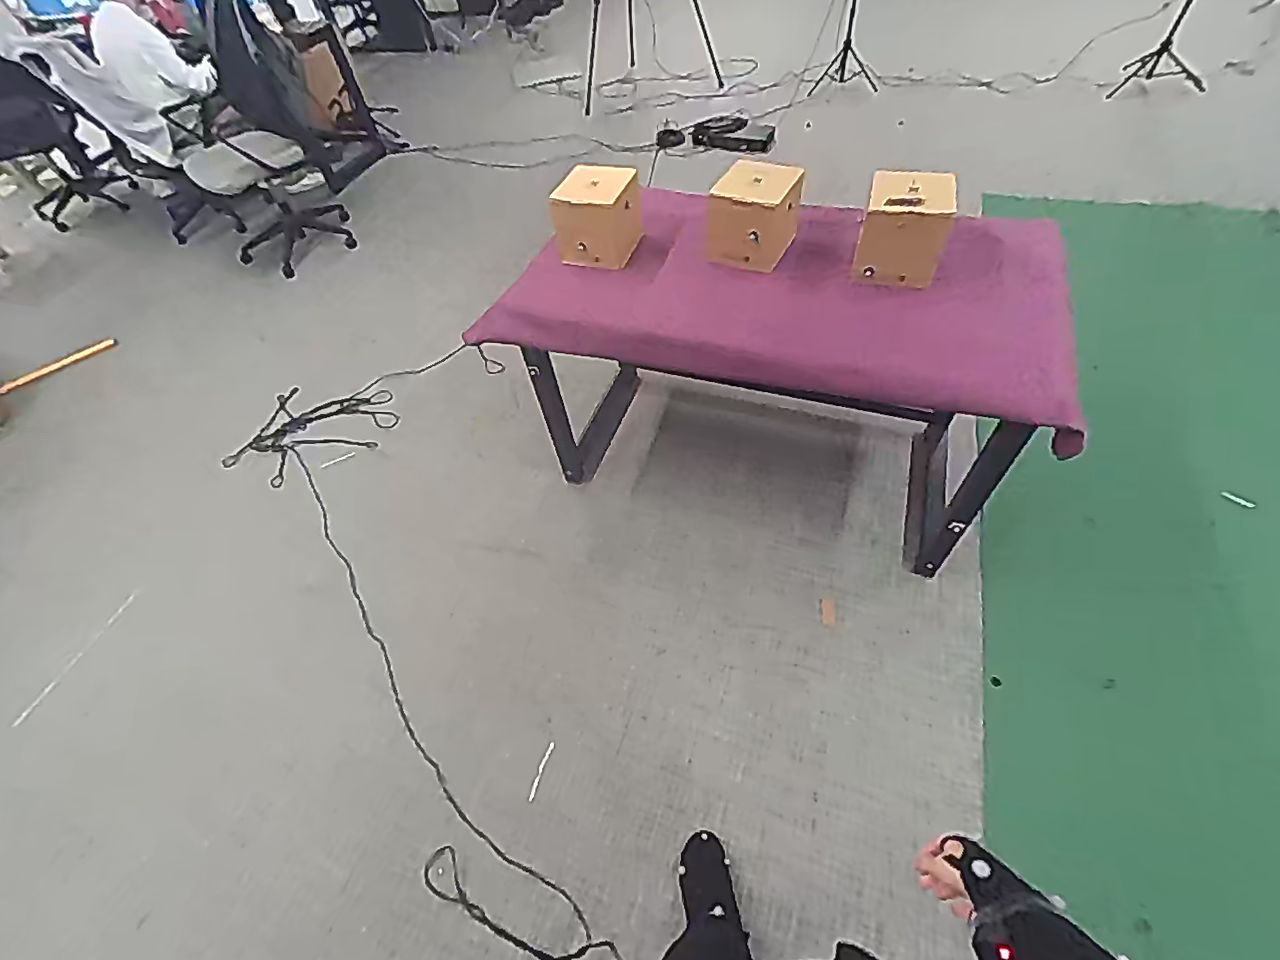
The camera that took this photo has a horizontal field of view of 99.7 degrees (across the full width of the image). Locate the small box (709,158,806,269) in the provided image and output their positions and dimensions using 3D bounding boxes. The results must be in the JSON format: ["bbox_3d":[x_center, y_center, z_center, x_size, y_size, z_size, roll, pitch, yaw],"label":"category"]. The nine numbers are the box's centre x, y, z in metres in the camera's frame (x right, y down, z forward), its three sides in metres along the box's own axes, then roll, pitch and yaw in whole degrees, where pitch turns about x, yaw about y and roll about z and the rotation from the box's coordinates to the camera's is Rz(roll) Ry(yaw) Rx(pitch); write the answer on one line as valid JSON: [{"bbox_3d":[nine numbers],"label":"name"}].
[{"bbox_3d":[0.275,-0.627,1.278,0.168,0.176,0.179,23,59,21],"label":"small box"}]

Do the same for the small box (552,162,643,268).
[{"bbox_3d":[-0.097,-0.660,1.348,0.168,0.176,0.179,14,57,16],"label":"small box"}]

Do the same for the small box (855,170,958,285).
[{"bbox_3d":[0.577,-0.551,1.182,0.168,0.176,0.179,12,55,16],"label":"small box"}]
